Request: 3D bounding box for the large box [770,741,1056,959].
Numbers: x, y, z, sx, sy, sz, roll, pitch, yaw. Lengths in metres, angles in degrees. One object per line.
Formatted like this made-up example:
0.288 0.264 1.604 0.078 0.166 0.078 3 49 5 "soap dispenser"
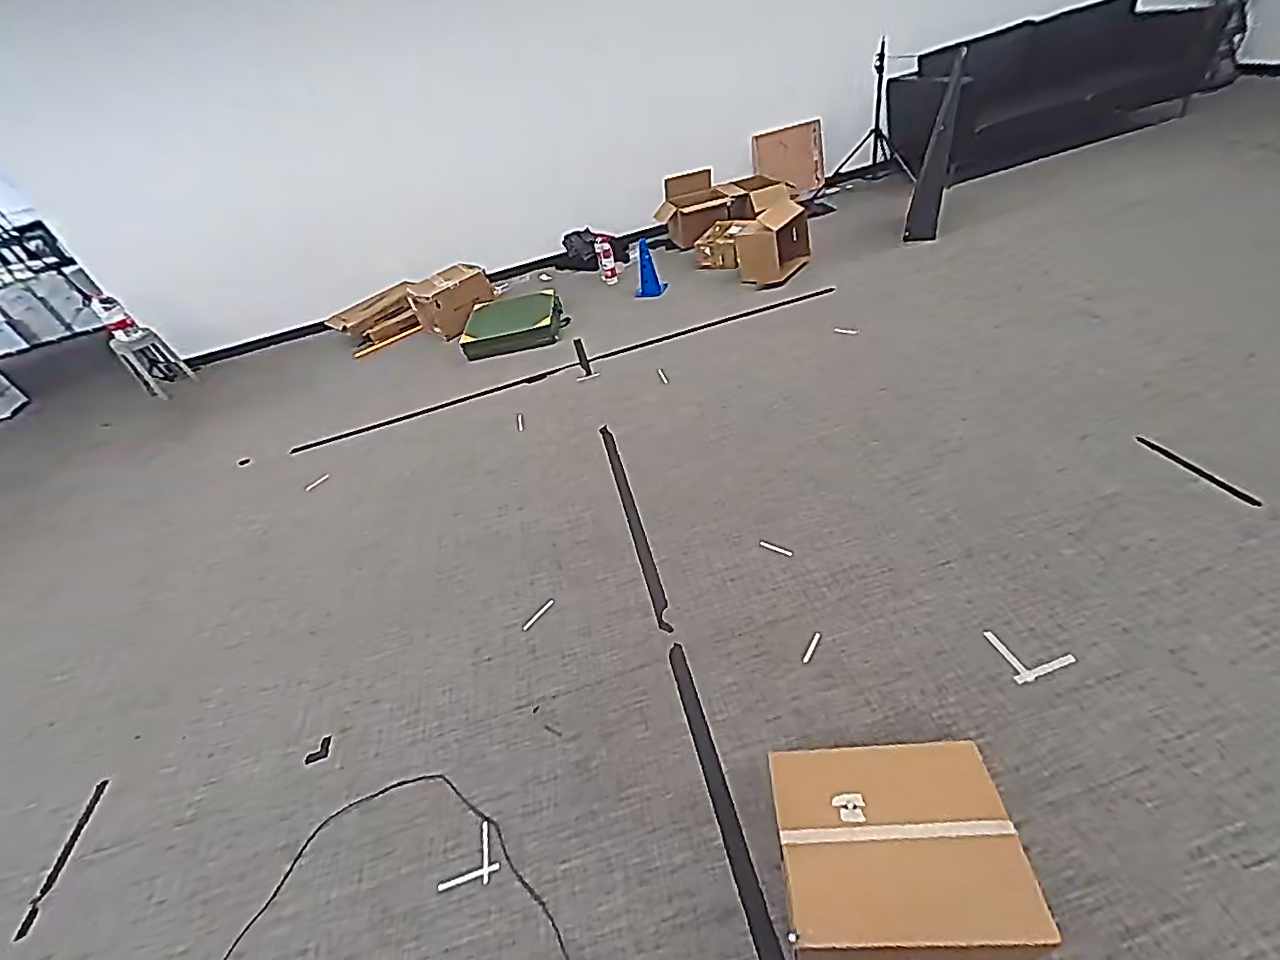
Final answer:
0.497 0.761 1.082 0.408 0.320 0.320 -9 39 9 "large box"
